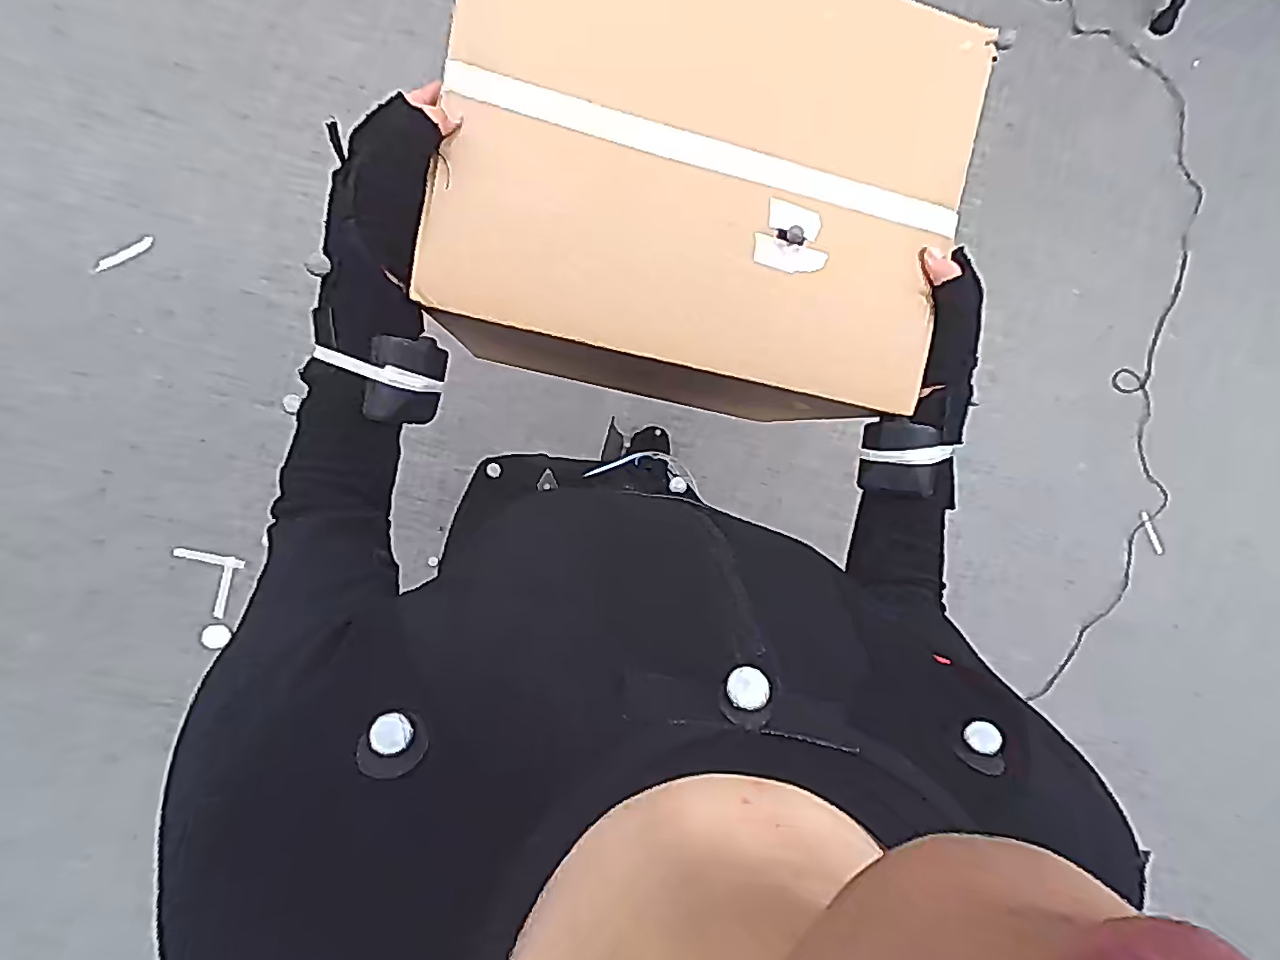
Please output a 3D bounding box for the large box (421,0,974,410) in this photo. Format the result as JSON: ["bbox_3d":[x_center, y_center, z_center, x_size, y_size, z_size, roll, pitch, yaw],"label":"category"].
[{"bbox_3d":[0.031,-0.264,0.565,0.408,0.320,0.320,11,95,-11],"label":"large box"}]
